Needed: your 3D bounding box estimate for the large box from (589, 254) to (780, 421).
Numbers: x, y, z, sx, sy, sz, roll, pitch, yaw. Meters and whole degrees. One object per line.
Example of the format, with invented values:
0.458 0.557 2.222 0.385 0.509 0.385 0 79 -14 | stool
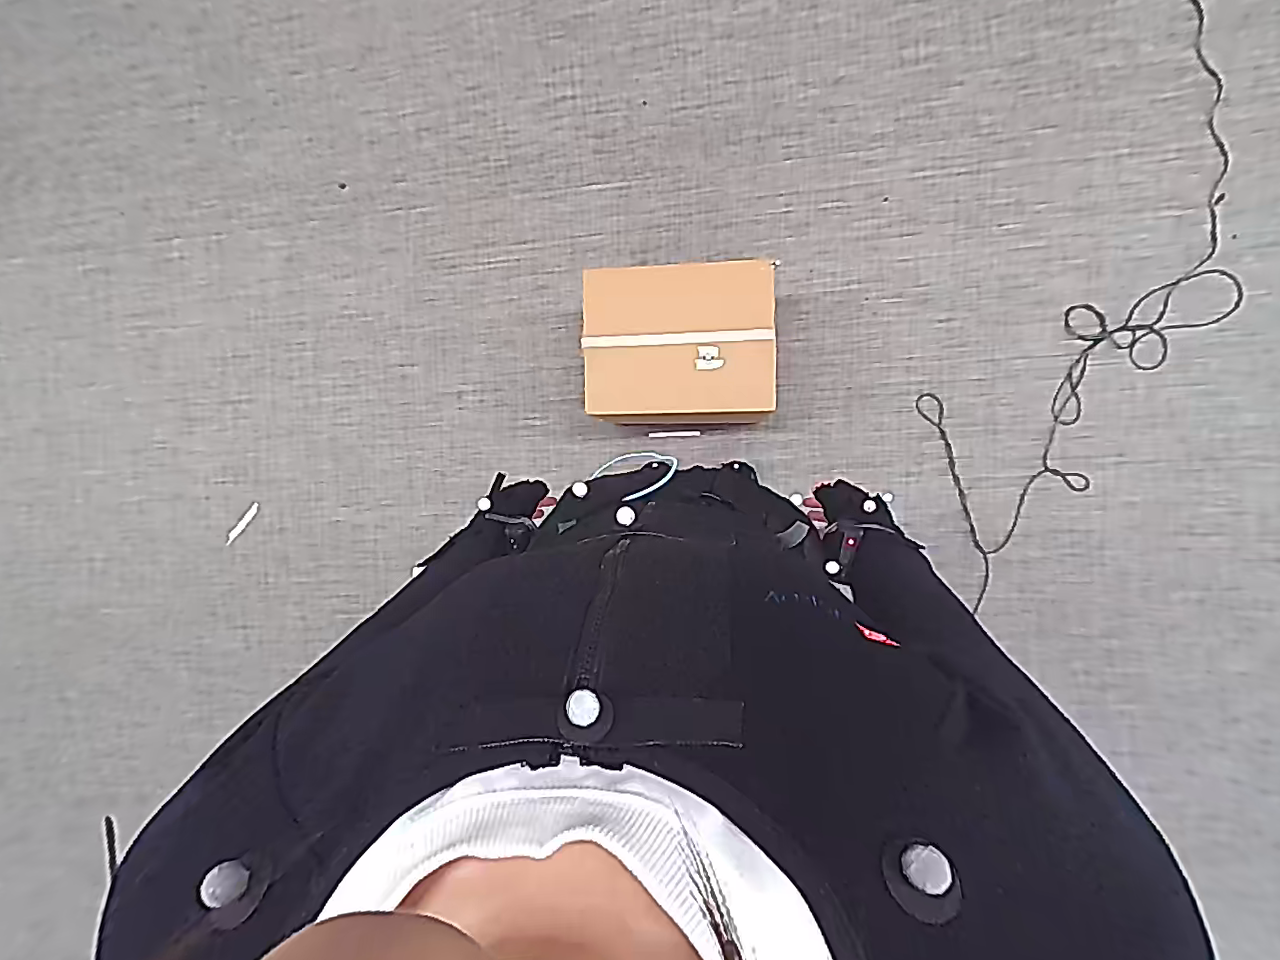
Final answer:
0.106 -0.312 1.286 0.408 0.320 0.320 0 92 7 | large box
